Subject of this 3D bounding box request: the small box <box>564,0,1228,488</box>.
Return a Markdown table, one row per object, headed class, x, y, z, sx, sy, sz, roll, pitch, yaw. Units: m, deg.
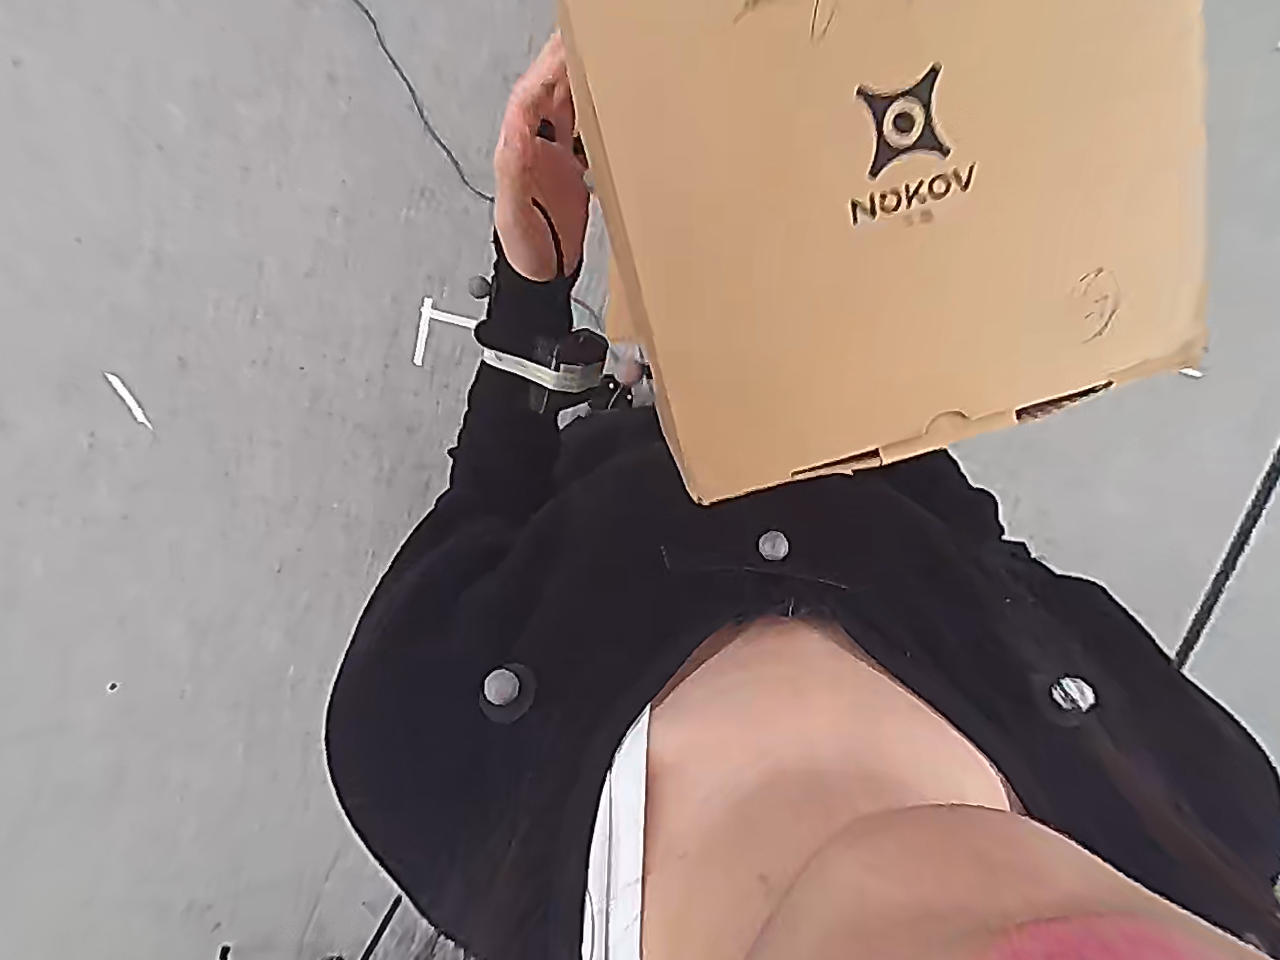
| class | x | y | z | sx | sy | sz | roll | pitch | yaw |
| --- | --- | --- | --- | --- | --- | --- | --- | --- | --- |
| small box | 0.074 | -0.117 | 0.226 | 0.168 | 0.176 | 0.179 | -16 | 104 | 2 |
